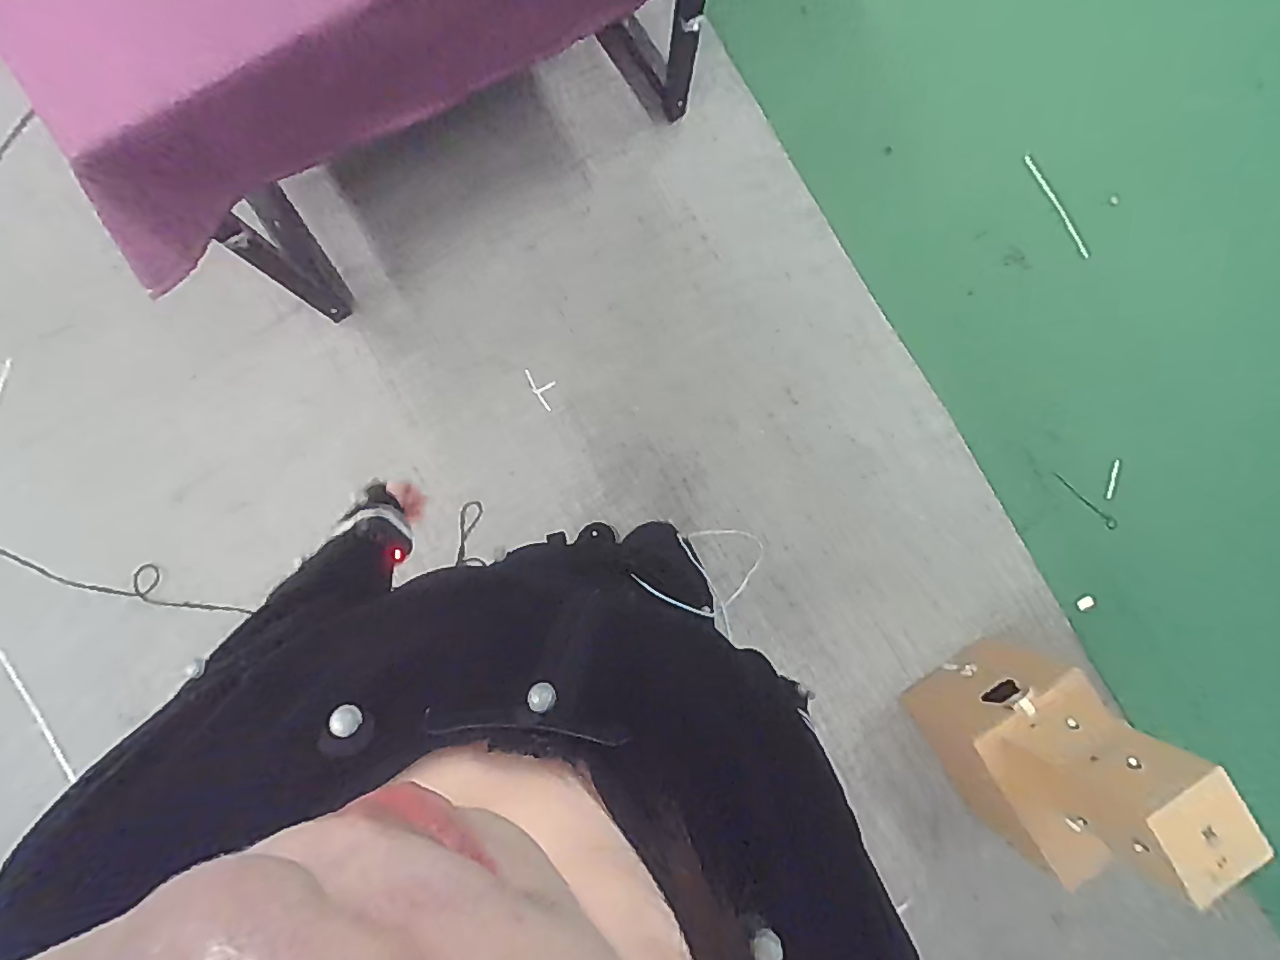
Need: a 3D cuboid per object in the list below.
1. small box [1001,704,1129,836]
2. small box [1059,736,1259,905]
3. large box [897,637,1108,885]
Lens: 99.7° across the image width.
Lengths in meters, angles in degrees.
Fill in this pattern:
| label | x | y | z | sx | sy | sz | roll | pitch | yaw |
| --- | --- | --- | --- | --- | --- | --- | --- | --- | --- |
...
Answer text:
| label | x | y | z | sx | sy | sz | roll | pitch | yaw |
| --- | --- | --- | --- | --- | --- | --- | --- | --- | --- |
| small box | 0.923 | 0.604 | 1.149 | 0.168 | 0.176 | 0.179 | -29 | 90 | -5 |
| small box | 0.927 | 0.598 | 0.984 | 0.168 | 0.176 | 0.179 | -29 | 90 | -4 |
| large box | 0.962 | 0.686 | 1.392 | 0.320 | 0.320 | 0.408 | -31 | 90 | -5 |
